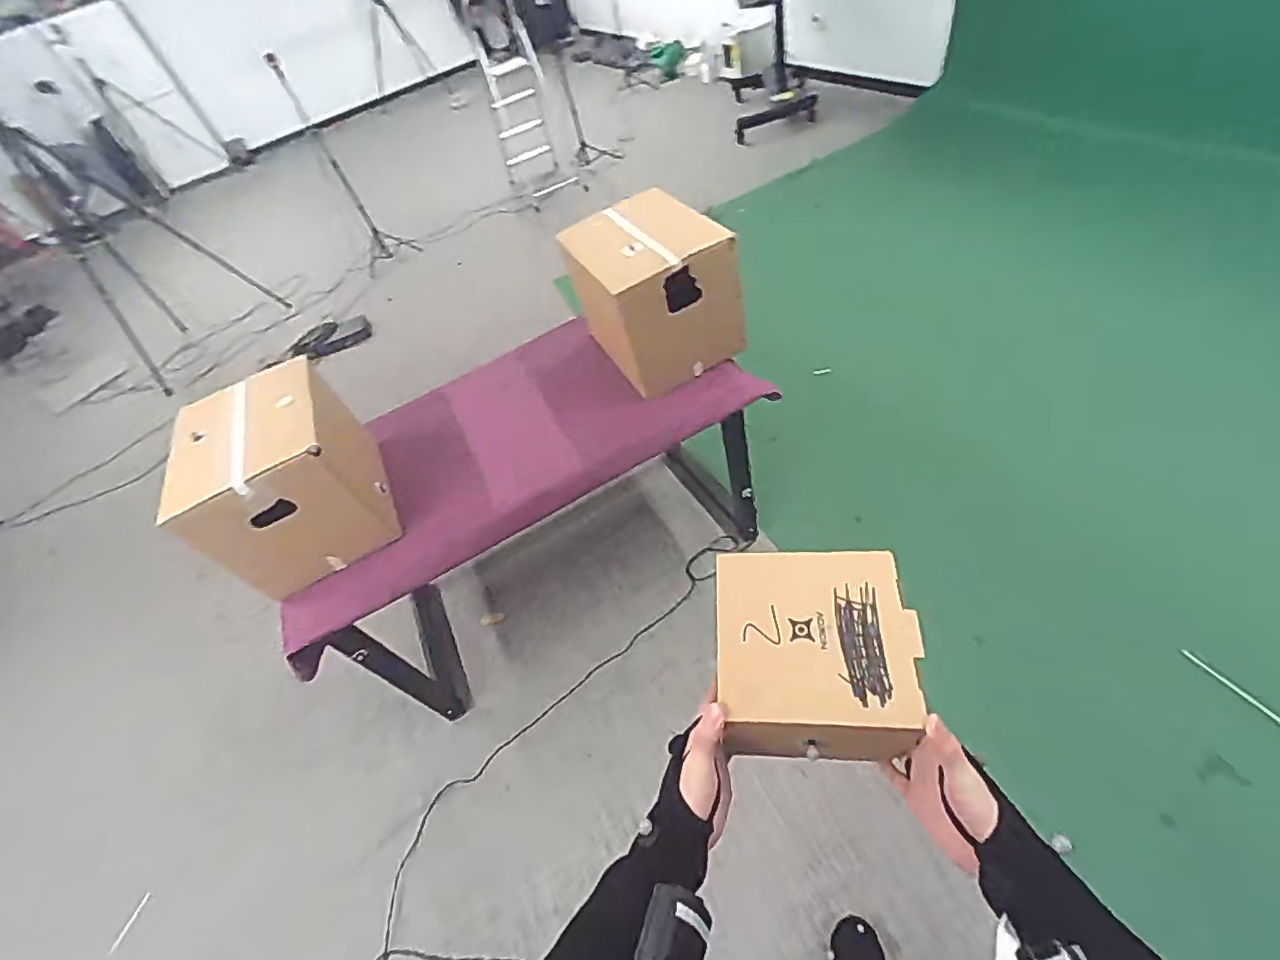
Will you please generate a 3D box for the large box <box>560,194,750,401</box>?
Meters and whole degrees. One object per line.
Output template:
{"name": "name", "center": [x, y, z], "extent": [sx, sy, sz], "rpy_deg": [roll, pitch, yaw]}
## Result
{"name": "large box", "center": [0.041, -0.479, 1.407], "extent": [0.320, 0.320, 0.408], "rpy_deg": [-29, 49, -7]}
